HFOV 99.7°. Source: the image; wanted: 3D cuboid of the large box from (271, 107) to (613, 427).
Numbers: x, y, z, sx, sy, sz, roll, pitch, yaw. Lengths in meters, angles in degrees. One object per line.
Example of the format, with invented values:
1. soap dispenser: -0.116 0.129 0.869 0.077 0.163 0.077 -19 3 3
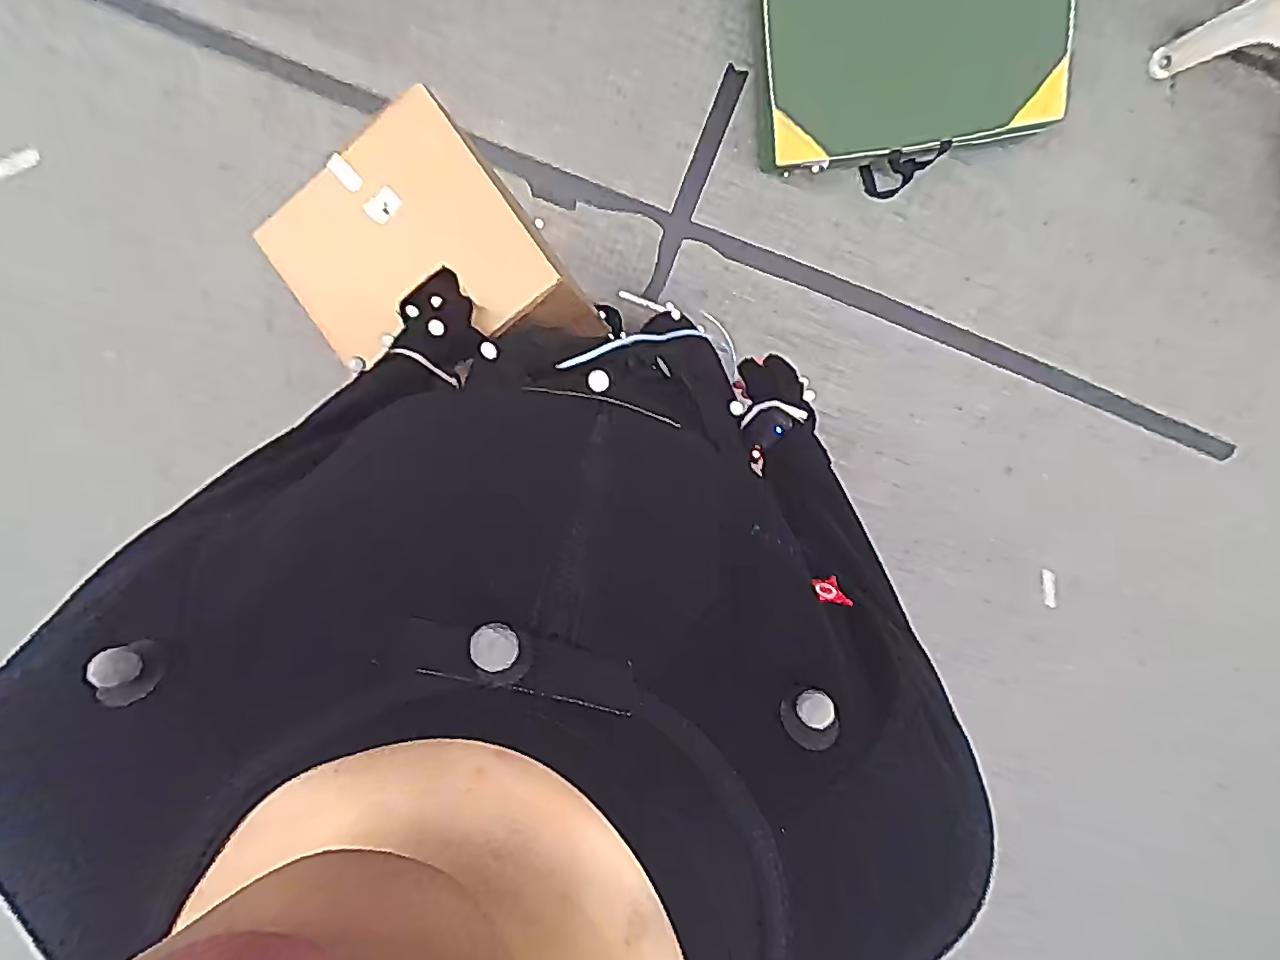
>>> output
1. large box: -0.288 -0.309 0.918 0.320 0.408 0.320 -35 92 9
